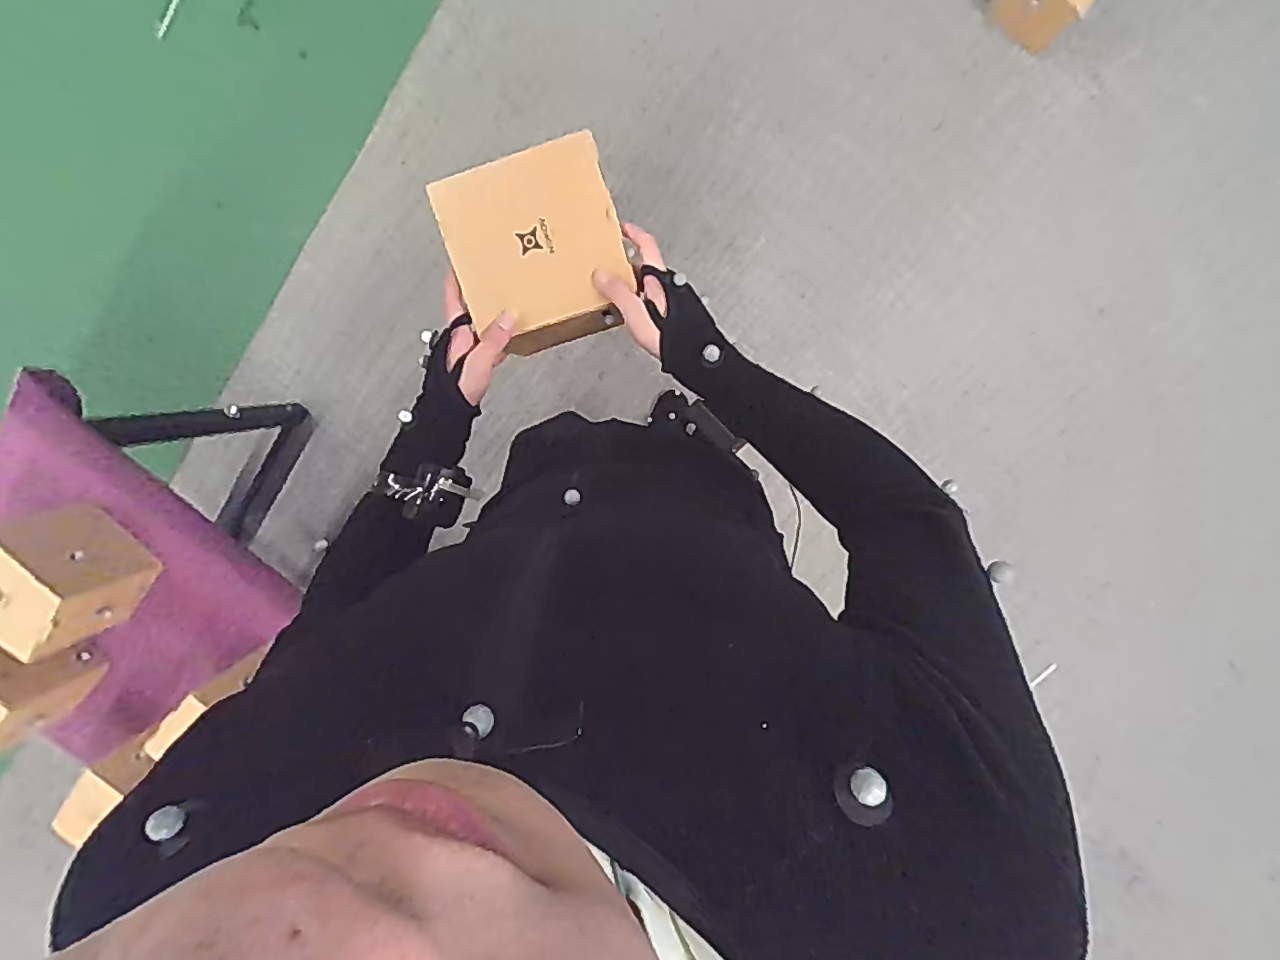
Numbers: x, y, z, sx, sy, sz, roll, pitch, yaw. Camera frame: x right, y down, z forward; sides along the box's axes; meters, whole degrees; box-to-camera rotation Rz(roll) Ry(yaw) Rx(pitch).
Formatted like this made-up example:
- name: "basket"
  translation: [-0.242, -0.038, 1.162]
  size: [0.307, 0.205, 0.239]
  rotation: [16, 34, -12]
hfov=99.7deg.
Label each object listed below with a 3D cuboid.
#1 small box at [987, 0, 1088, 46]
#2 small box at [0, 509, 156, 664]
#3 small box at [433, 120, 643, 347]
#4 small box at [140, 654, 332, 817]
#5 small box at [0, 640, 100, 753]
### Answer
- name: "small box"
  translation: [0.931, -1.134, 1.207]
  size: [0.179, 0.176, 0.168]
  rotation: [38, 103, -2]
- name: "small box"
  translation: [-1.020, 0.175, 0.947]
  size: [0.179, 0.176, 0.168]
  rotation: [43, 103, -4]
- name: "small box"
  translation: [-0.098, -0.257, 0.612]
  size: [0.179, 0.176, 0.168]
  rotation: [-16, 98, 2]
- name: "small box"
  translation: [-0.708, 0.440, 0.967]
  size: [0.168, 0.176, 0.179]
  rotation: [-43, 95, 14]
- name: "small box"
  translation: [-1.181, 0.385, 1.008]
  size: [0.168, 0.176, 0.179]
  rotation: [44, 103, -3]
